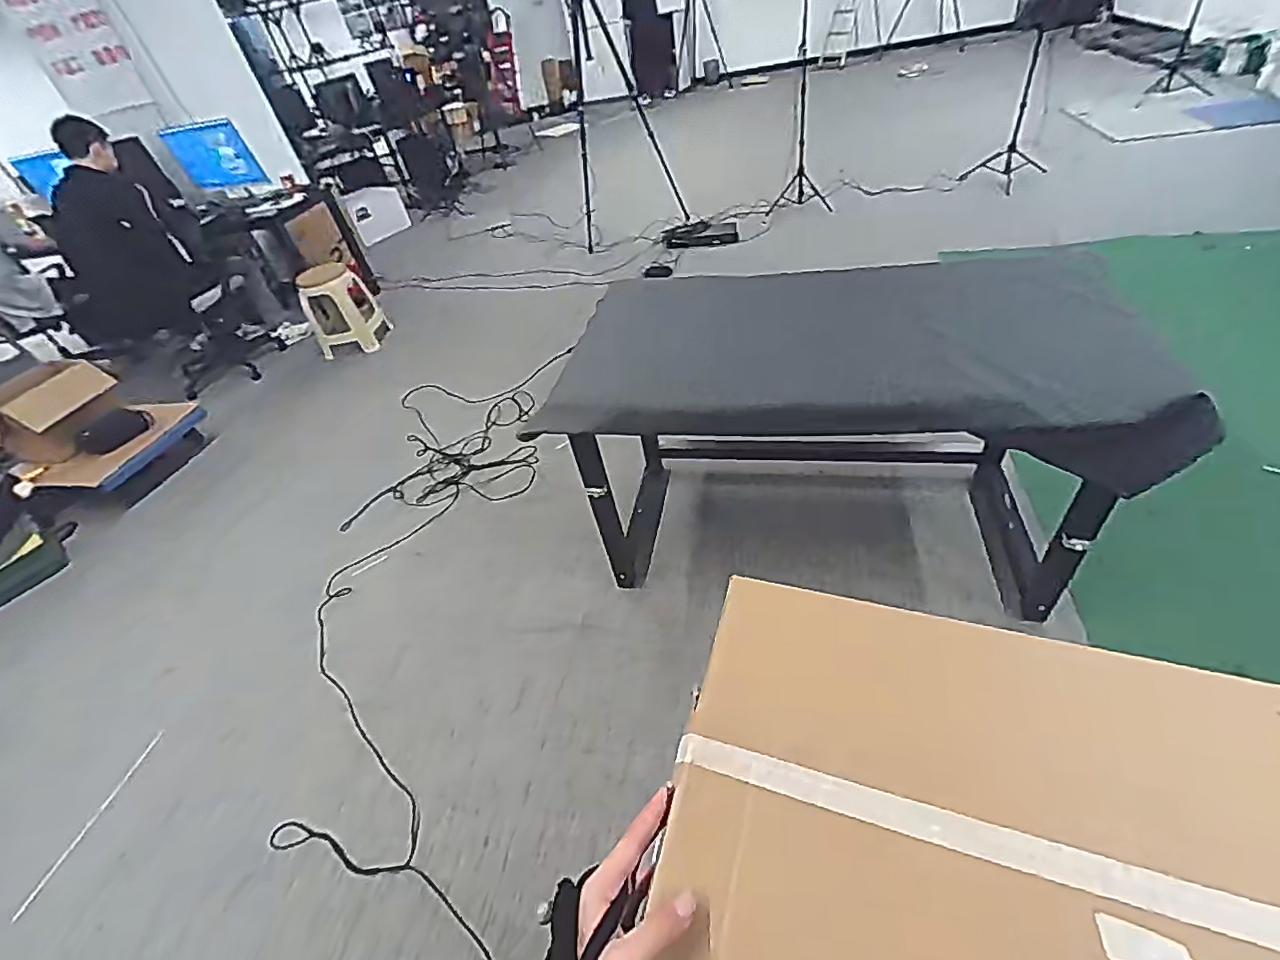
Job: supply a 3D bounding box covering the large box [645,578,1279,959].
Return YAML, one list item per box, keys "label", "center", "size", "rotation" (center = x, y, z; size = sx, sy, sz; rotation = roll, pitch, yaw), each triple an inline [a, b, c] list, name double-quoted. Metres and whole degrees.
- label: "large box"
  center: [0.245, 0.327, 0.458]
  size: [0.408, 0.320, 0.320]
  rotation: [9, 50, 18]
